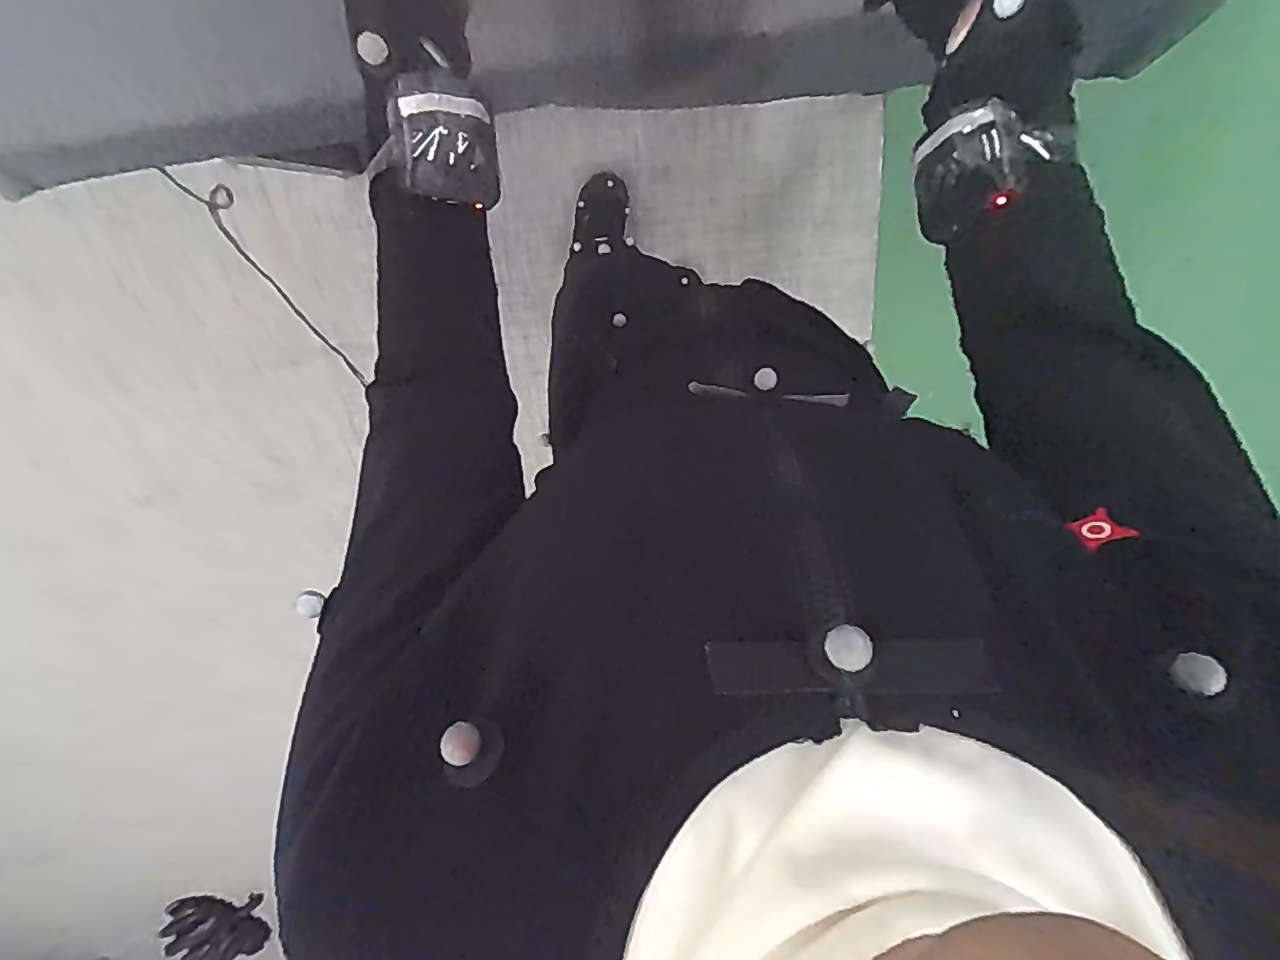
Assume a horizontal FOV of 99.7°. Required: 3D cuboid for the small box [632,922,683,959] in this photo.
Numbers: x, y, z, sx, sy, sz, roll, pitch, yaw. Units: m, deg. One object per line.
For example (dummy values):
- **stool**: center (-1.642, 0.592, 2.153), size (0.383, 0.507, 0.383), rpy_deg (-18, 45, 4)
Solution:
- **small box**: center (0.061, 1.690, 1.891), size (0.179, 0.176, 0.168), rpy_deg (-2, 112, -1)
